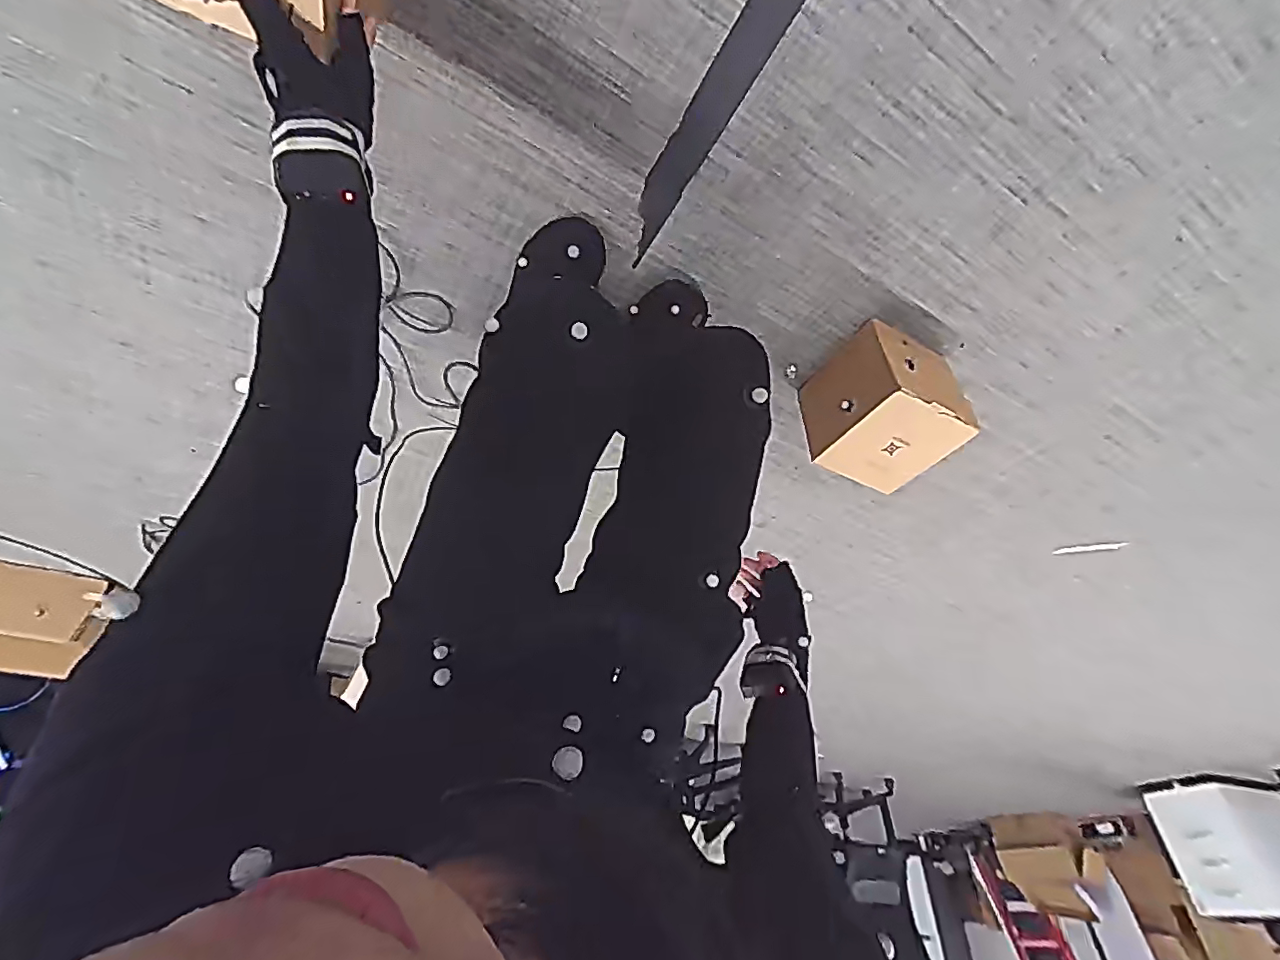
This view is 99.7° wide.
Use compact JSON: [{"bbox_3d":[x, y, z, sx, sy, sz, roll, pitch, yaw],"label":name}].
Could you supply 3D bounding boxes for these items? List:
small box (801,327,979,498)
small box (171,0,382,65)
[{"bbox_3d":[0.376,-0.106,0.850,0.168,0.176,0.179,21,138,-19],"label":"small box"},{"bbox_3d":[-0.309,-0.481,0.421,0.168,0.176,0.179,16,139,-16],"label":"small box"}]
